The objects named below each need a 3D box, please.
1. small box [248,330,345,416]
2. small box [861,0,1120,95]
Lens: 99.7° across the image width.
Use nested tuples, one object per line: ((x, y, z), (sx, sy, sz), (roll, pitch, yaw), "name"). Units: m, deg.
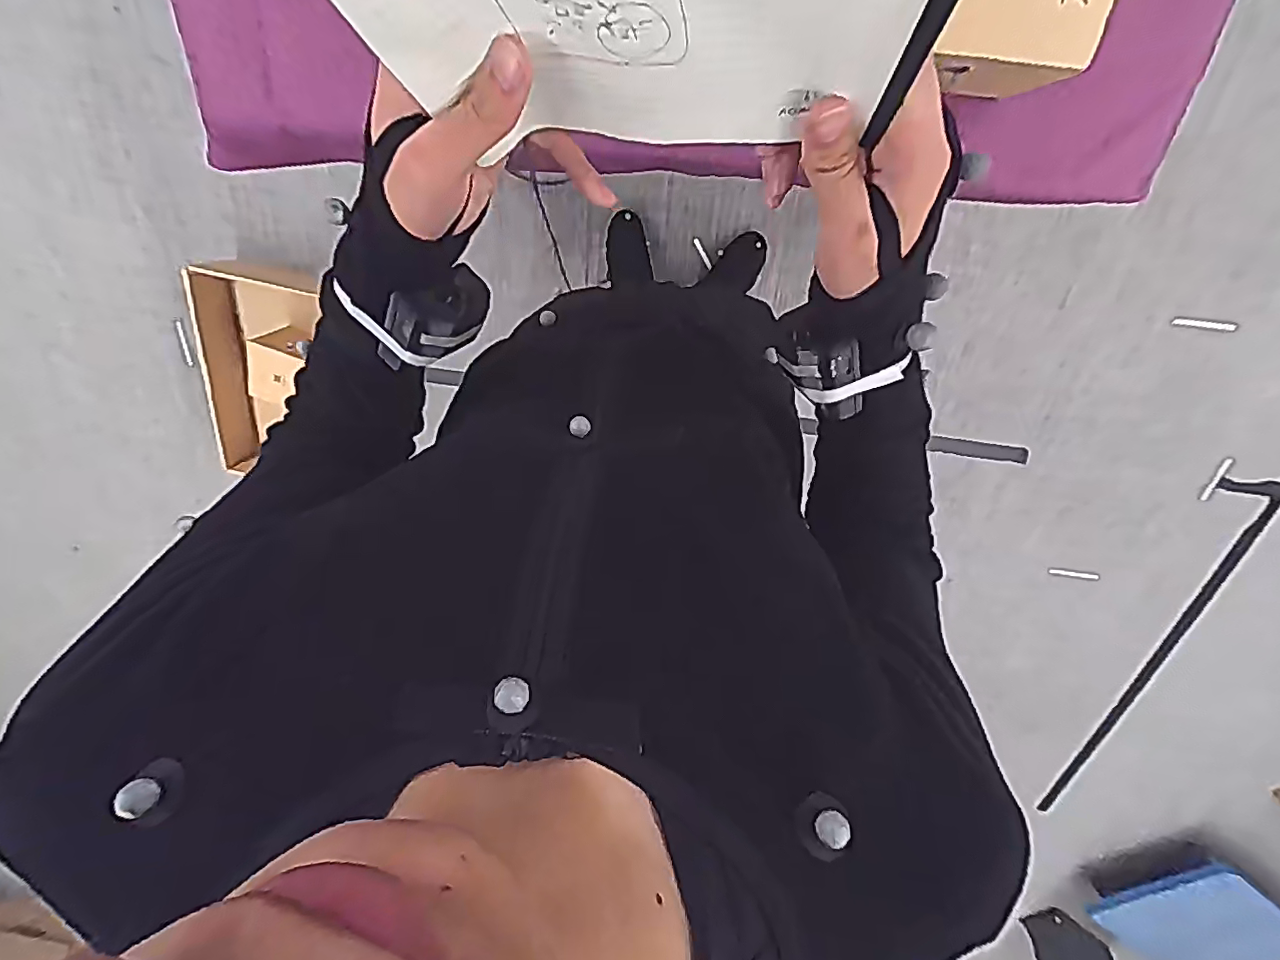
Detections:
((-0.974, -0.312, 1.543), (0.179, 0.176, 0.168), (19, 119, -4), "small box")
((0.335, -0.487, 0.517), (0.179, 0.176, 0.168), (9, 119, 2), "small box")
